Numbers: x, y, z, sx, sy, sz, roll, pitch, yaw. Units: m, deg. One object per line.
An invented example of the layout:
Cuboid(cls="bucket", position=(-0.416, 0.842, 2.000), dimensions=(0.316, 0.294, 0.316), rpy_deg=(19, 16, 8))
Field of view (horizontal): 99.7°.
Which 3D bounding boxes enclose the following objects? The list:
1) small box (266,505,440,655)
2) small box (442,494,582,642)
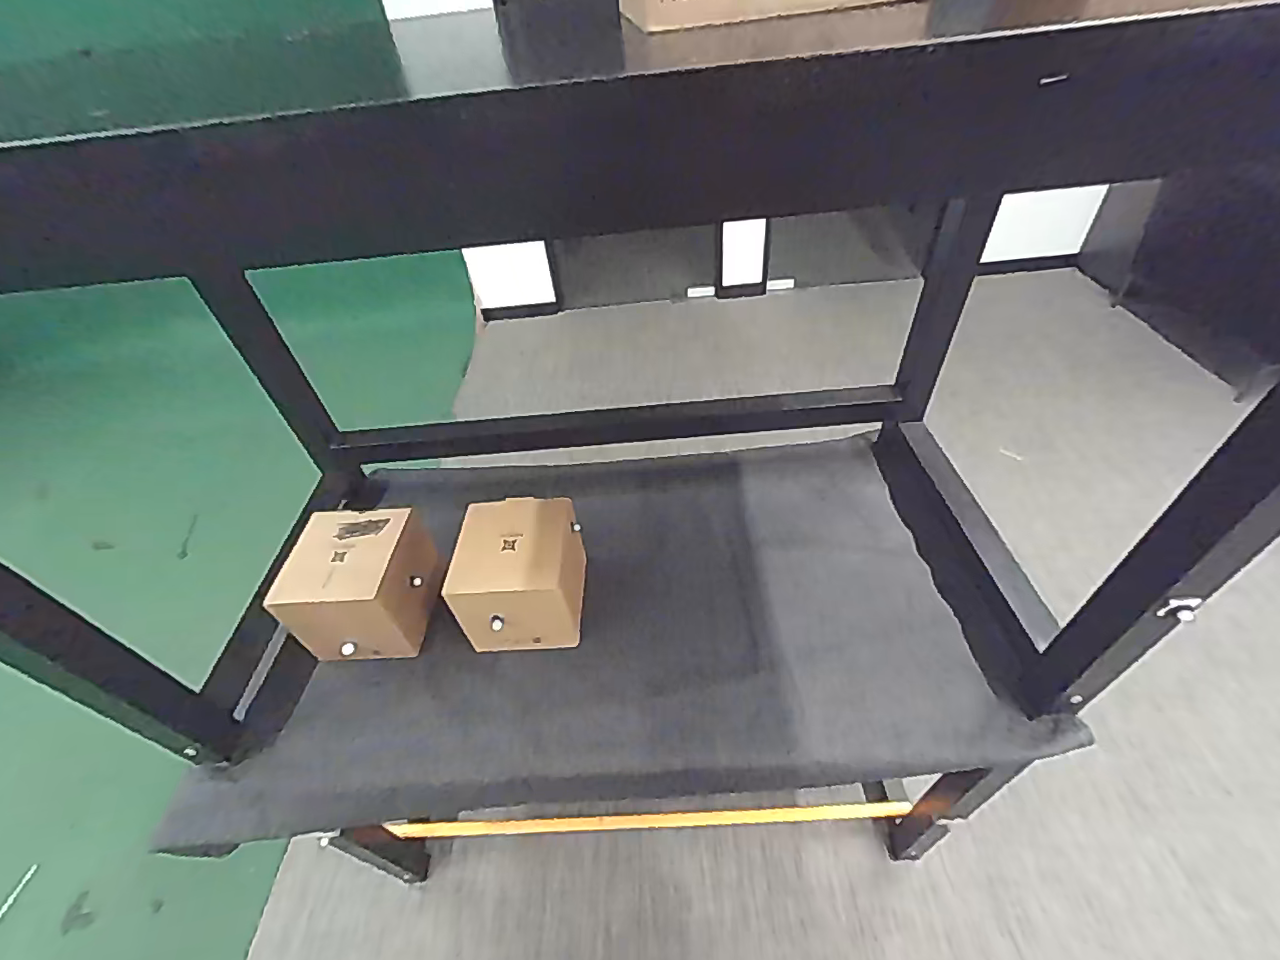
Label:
Cuboid(cls="small box", position=(-0.441, 0.161, 0.870), dimensions=(0.168, 0.176, 0.179), rpy_deg=(-3, 45, 3))
Cuboid(cls="small box", position=(-0.188, 0.146, 0.860), dimensions=(0.168, 0.176, 0.179), rpy_deg=(-3, 44, 3))
